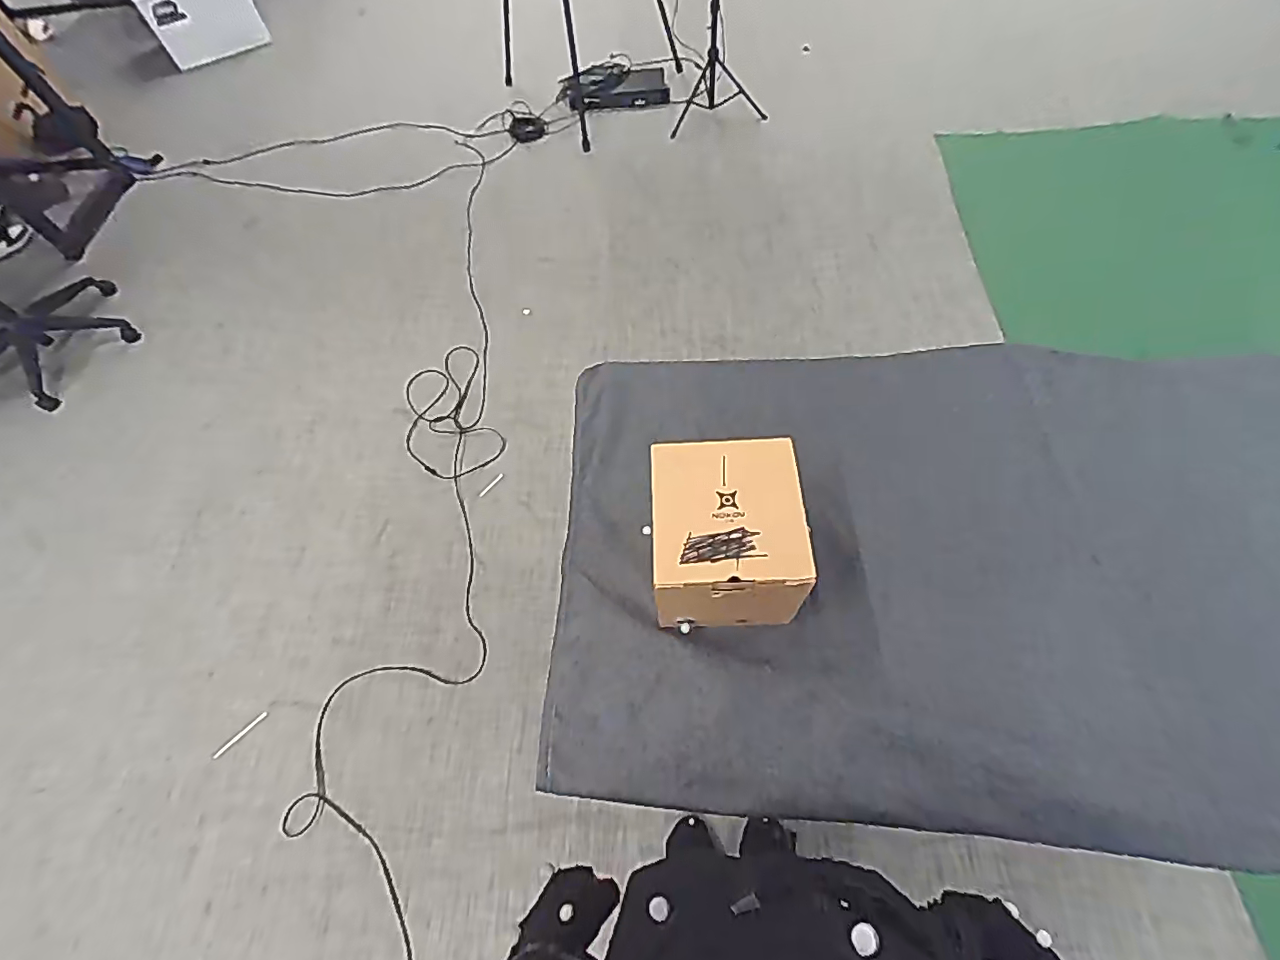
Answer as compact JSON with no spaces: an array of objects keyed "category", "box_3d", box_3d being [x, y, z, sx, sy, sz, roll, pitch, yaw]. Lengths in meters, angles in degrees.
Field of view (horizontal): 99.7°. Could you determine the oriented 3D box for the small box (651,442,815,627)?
[{"category":"small box","box_3d":[0.101,0.075,0.651,0.168,0.176,0.179,-3,59,3]}]
